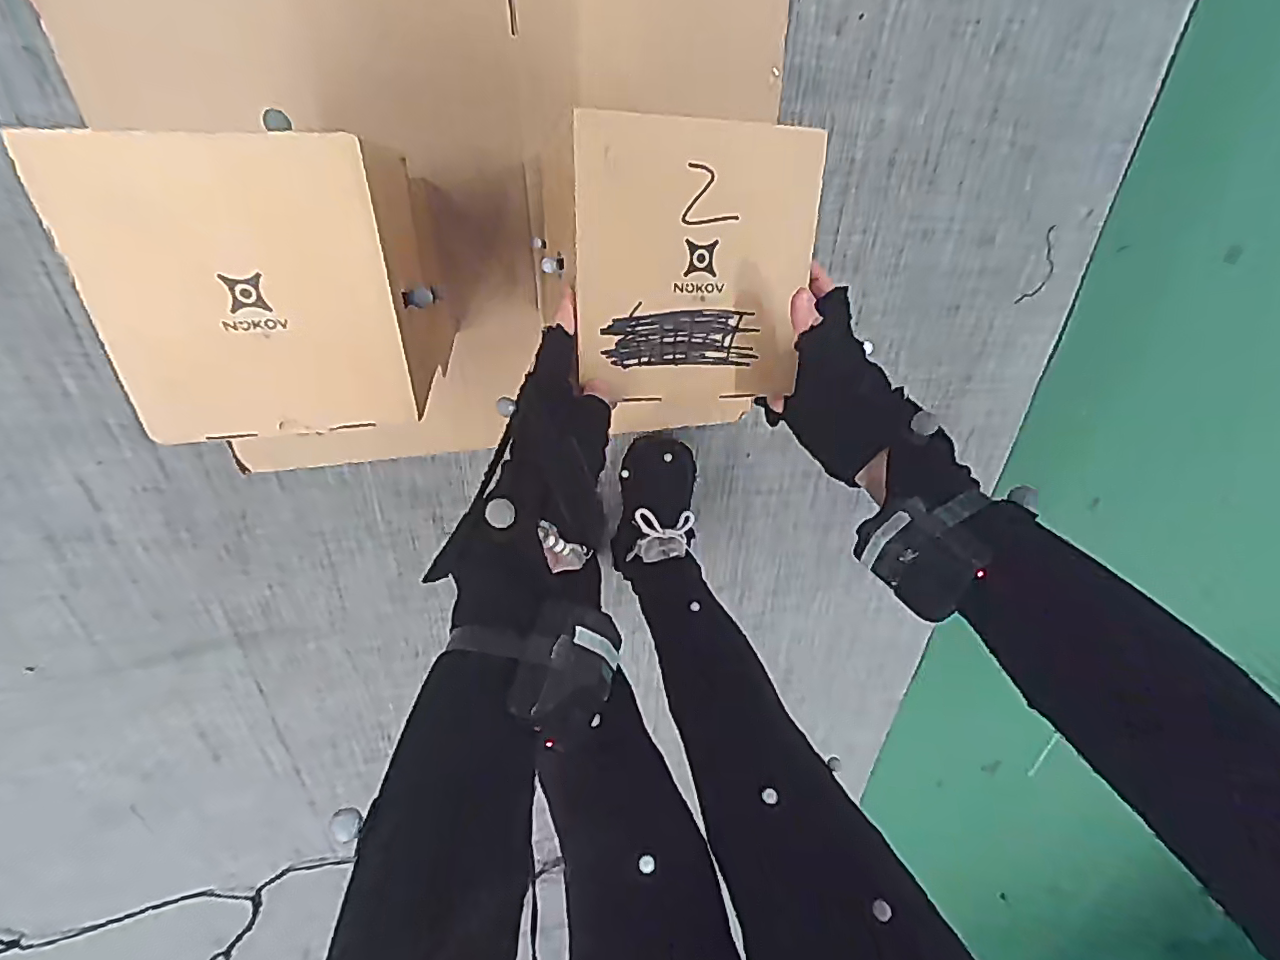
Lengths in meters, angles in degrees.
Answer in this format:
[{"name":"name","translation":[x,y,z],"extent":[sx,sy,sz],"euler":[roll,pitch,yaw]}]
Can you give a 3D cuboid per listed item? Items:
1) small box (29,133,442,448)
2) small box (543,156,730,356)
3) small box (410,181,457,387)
[{"name":"small box","translation":[-0.248,-0.143,0.394],"extent":[0.168,0.176,0.179],"euler":[-7,121,-12]},{"name":"small box","translation":[-0.018,-0.246,0.592],"extent":[0.168,0.176,0.179],"euler":[-3,121,-12]},{"name":"small box","translation":[-0.288,-0.197,0.545],"extent":[0.168,0.176,0.179],"euler":[-9,121,-10]}]
